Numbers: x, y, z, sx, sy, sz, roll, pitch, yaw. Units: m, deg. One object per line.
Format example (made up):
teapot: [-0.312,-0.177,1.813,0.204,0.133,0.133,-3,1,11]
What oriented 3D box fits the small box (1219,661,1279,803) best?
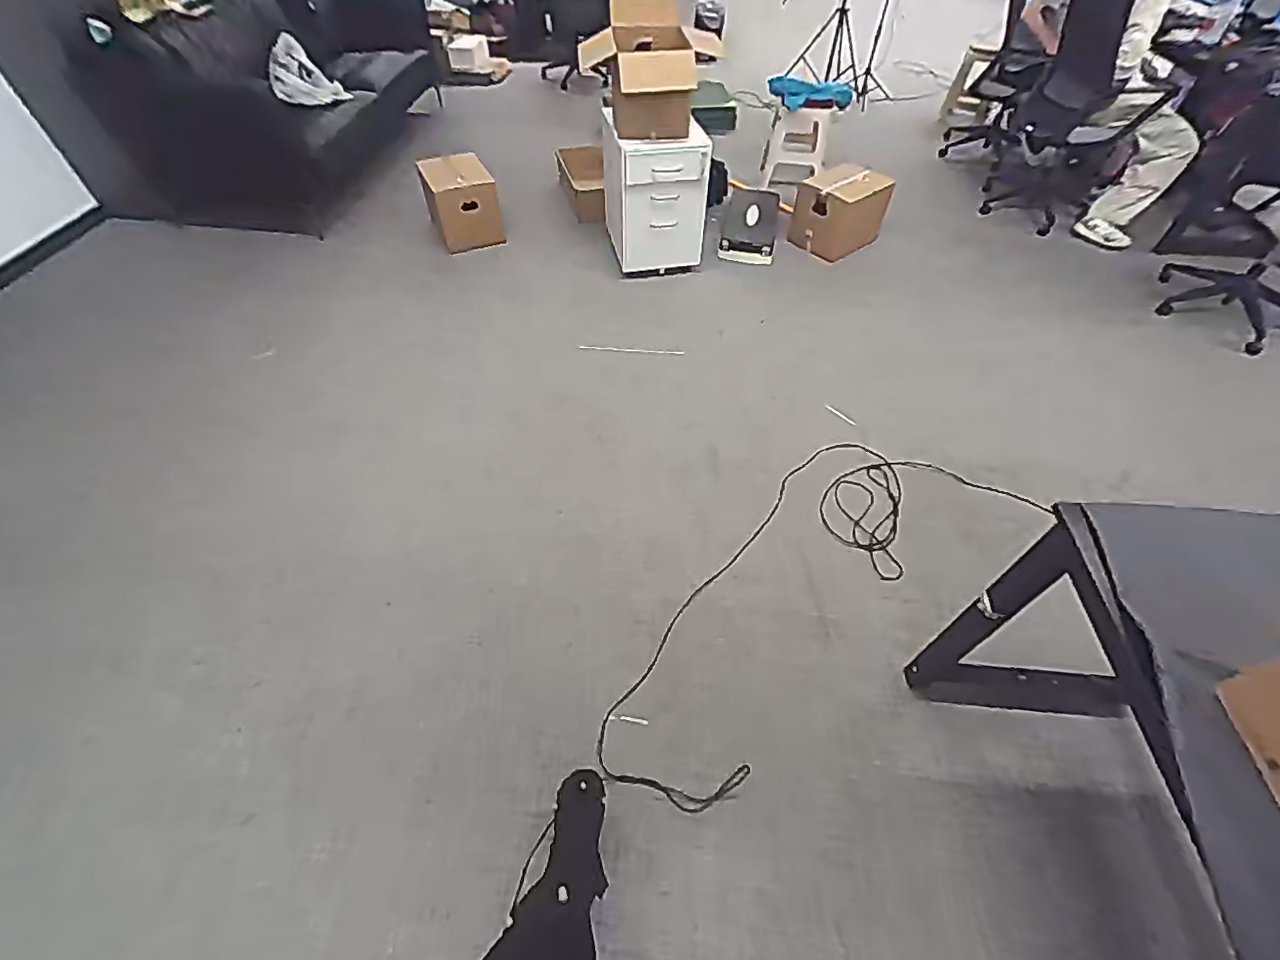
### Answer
small box: [0.854,0.292,0.615,0.179,0.176,0.168,5,50,2]
